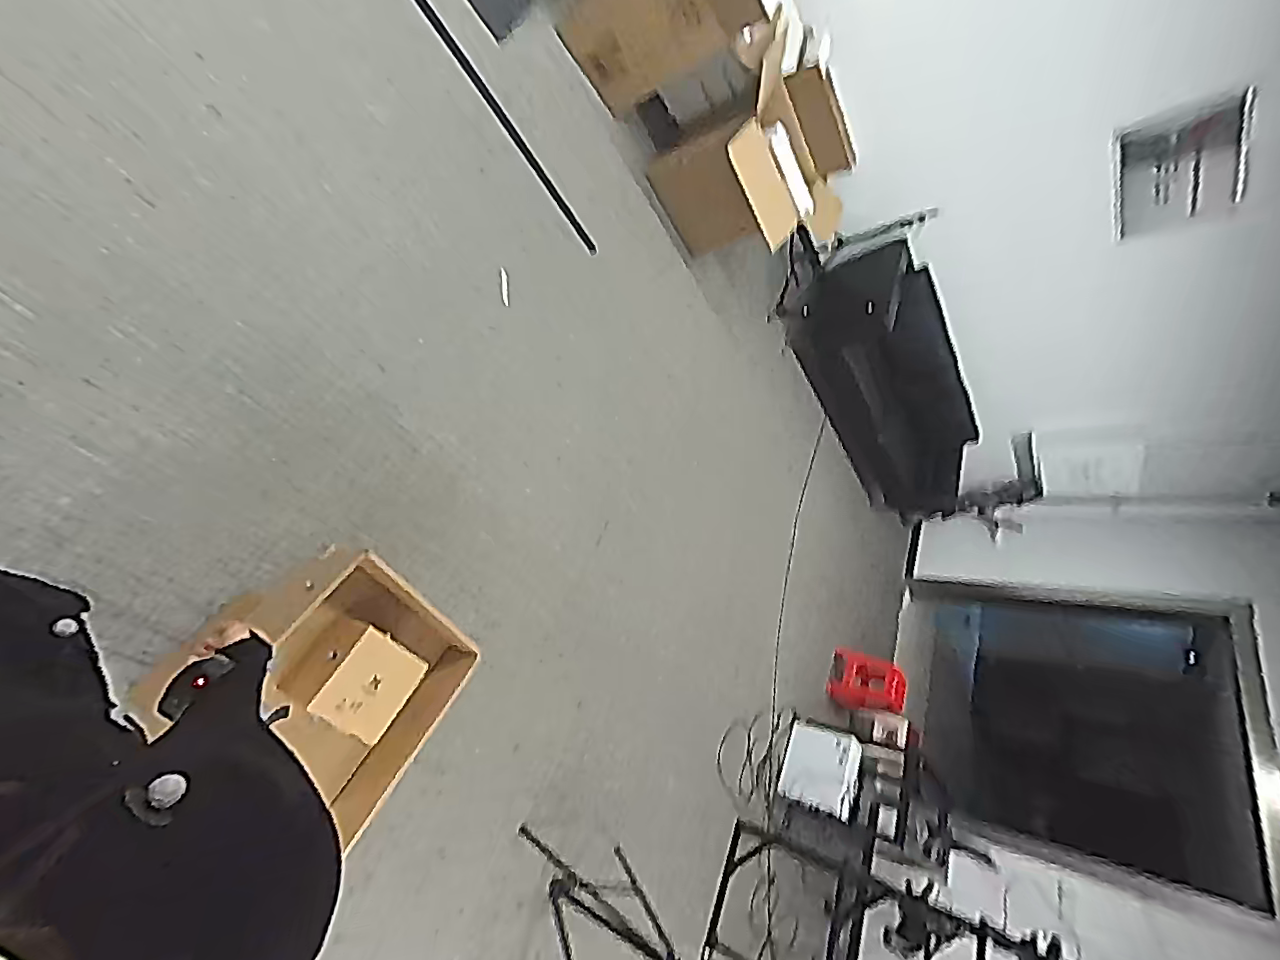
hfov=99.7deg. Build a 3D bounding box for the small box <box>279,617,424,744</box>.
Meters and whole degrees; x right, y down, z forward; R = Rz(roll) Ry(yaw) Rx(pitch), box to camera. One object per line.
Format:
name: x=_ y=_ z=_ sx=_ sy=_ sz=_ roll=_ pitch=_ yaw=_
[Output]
small box: x=-0.596 y=0.404 z=1.115 sx=0.168 sy=0.176 sz=0.179 roll=54 pitch=51 yaw=-33
